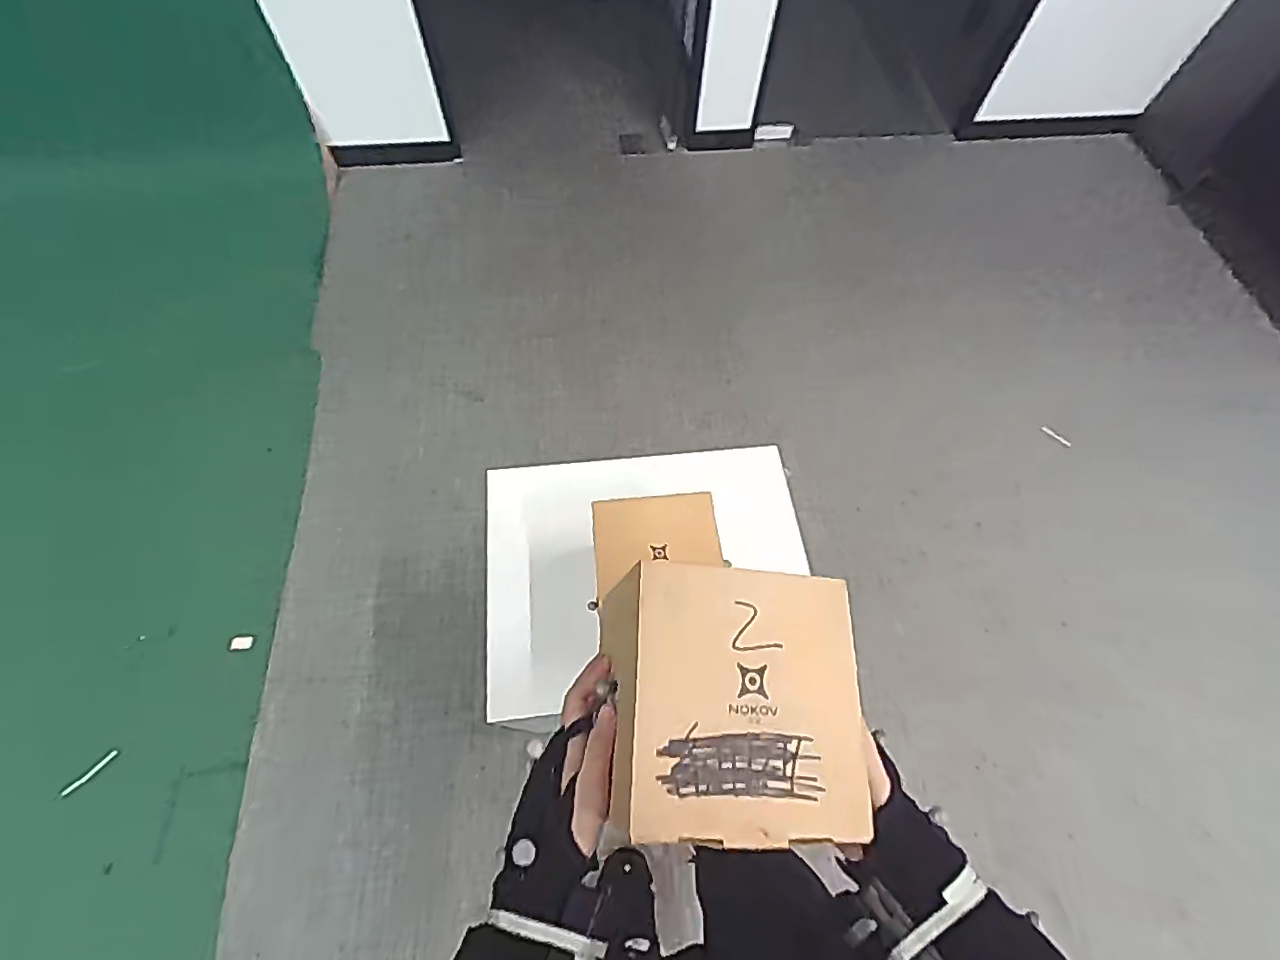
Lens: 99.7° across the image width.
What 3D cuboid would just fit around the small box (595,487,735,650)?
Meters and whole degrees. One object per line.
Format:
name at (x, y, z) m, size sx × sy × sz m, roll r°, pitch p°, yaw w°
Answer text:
small box at (0.023, 0.128, 0.757) m, size 0.168 × 0.176 × 0.179 m, roll -4°, pitch 63°, yaw -4°
